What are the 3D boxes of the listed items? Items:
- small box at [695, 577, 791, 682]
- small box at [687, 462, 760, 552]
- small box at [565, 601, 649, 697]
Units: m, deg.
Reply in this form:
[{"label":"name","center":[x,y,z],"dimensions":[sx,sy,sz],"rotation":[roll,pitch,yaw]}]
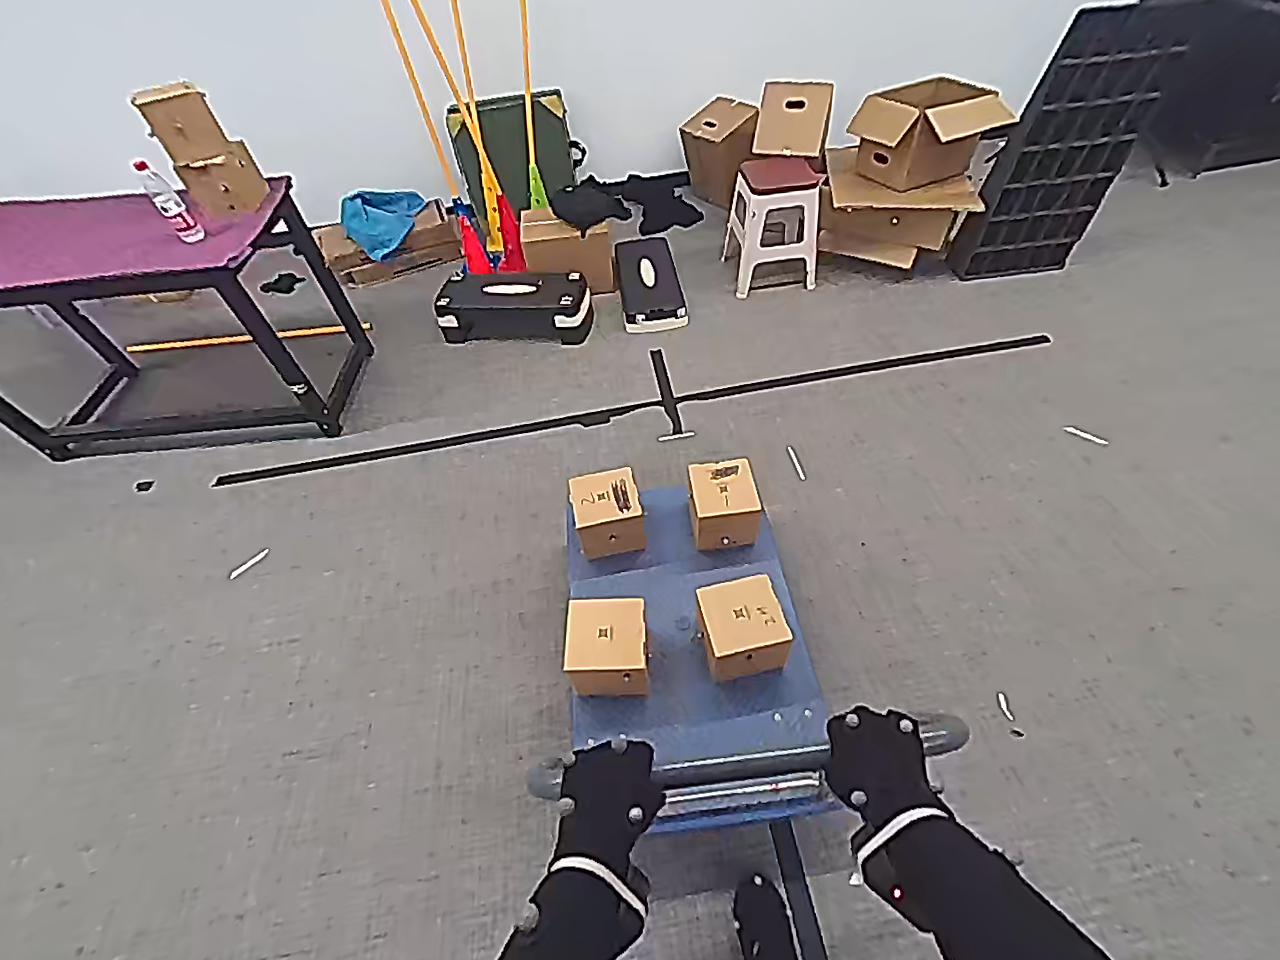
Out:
[{"label":"small box","center":[0.233,0.353,1.264],"dimensions":[0.179,0.176,0.168],"rotation":[-12,52,-4]},{"label":"small box","center":[0.223,0.075,1.485],"dimensions":[0.168,0.176,0.179],"rotation":[-7,53,-1]},{"label":"small box","center":[-0.070,0.396,1.257],"dimensions":[0.179,0.176,0.168],"rotation":[-2,51,1]}]
